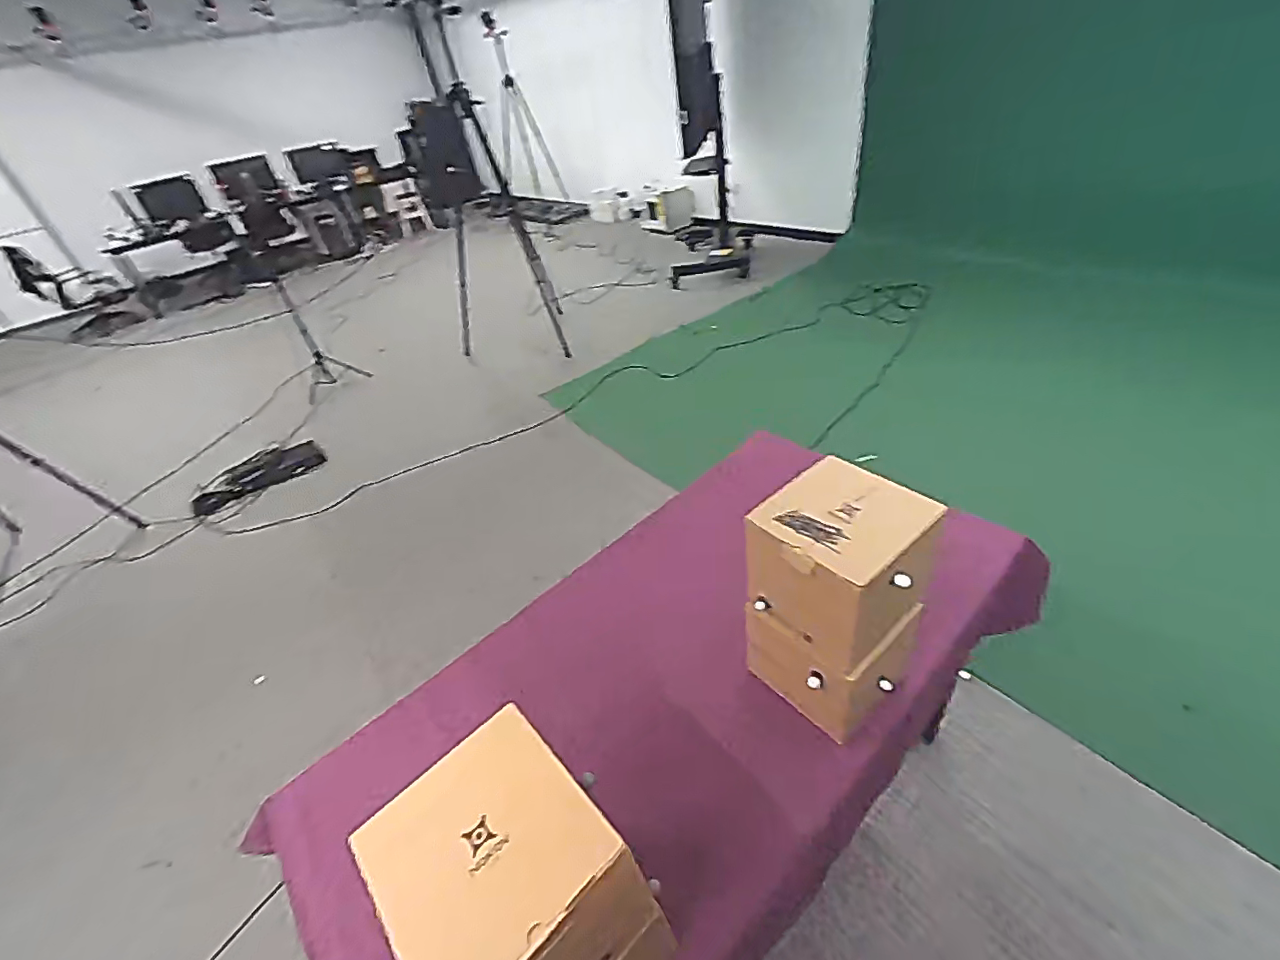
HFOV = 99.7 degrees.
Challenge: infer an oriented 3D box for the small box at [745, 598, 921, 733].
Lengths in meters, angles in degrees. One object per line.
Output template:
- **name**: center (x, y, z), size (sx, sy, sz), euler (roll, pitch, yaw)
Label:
- **small box**: center (0.278, 0.241, 0.802), size (0.168, 0.176, 0.179), euler (-32, 42, -26)

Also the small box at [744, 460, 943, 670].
- **small box**: center (0.258, 0.108, 0.706), size (0.179, 0.176, 0.168), euler (-31, 43, -26)

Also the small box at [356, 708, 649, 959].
- **small box**: center (-0.113, 0.355, 0.485), size (0.168, 0.176, 0.179), euler (-35, 44, -27)
